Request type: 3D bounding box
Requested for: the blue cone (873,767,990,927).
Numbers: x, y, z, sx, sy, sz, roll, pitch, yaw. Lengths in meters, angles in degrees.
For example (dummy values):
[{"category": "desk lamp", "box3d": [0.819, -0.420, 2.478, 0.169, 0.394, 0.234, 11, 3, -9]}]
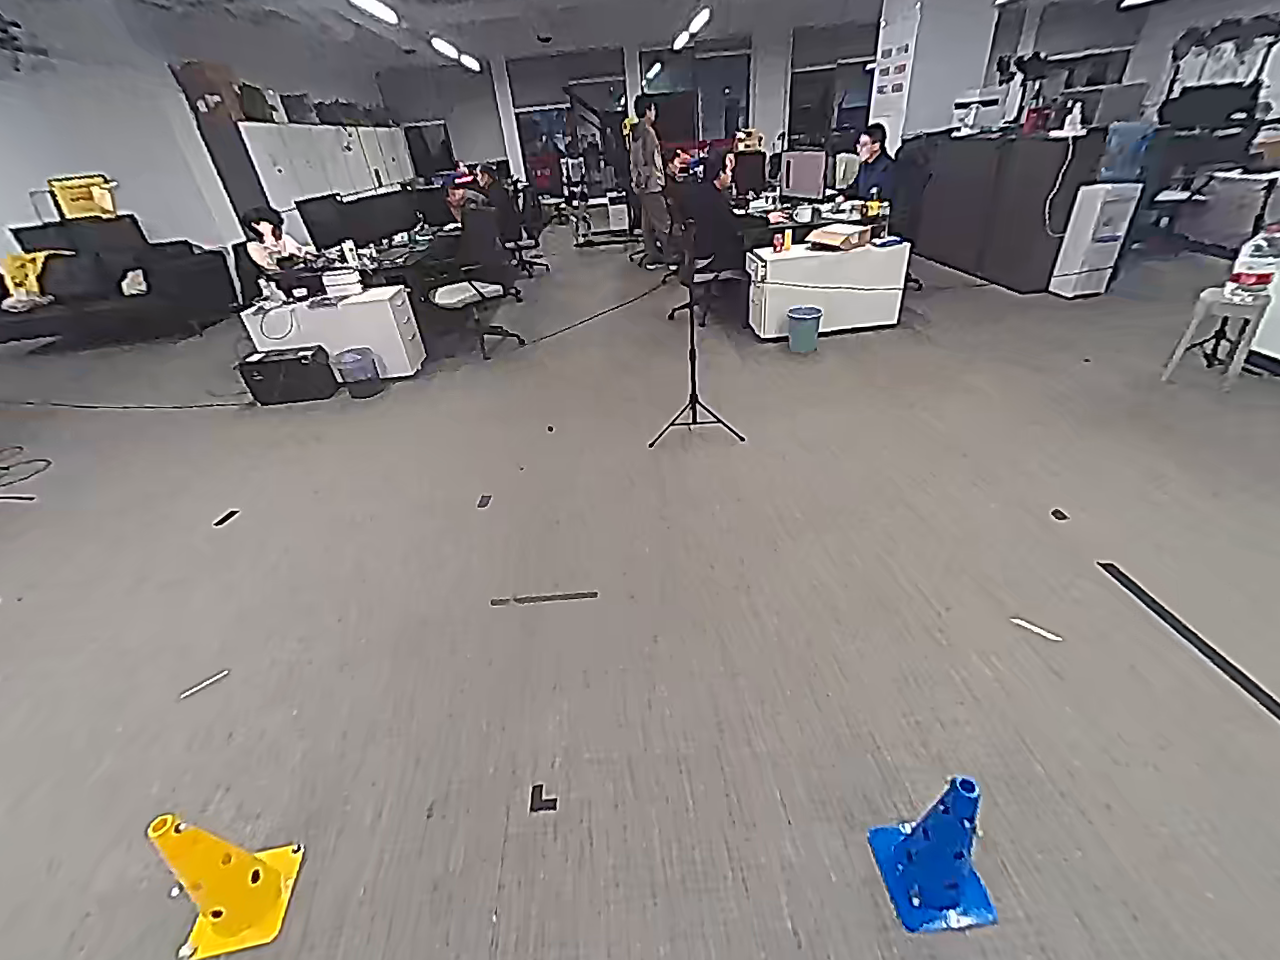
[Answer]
[{"category": "blue cone", "box3d": [0.613, 0.710, 1.084, 0.193, 0.380, 0.192, -6, 31, 1]}]
